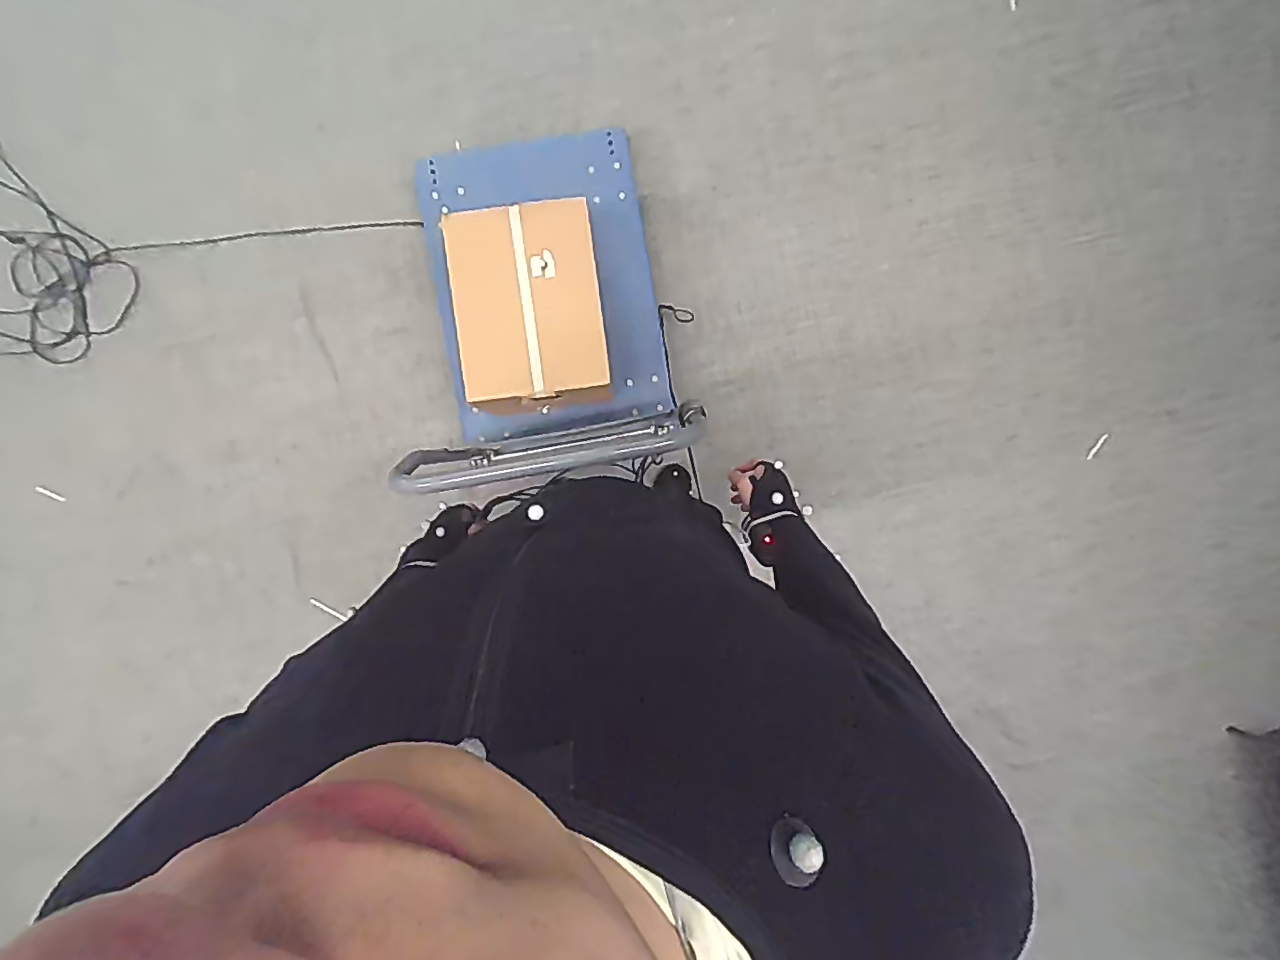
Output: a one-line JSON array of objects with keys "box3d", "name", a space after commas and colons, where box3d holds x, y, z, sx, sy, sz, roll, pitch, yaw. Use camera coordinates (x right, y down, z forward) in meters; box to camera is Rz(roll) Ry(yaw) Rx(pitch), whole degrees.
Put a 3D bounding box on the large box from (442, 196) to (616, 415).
[{"box3d": [-0.240, -0.385, 1.290, 0.320, 0.320, 0.408, -7, 91, -2], "name": "large box"}]
